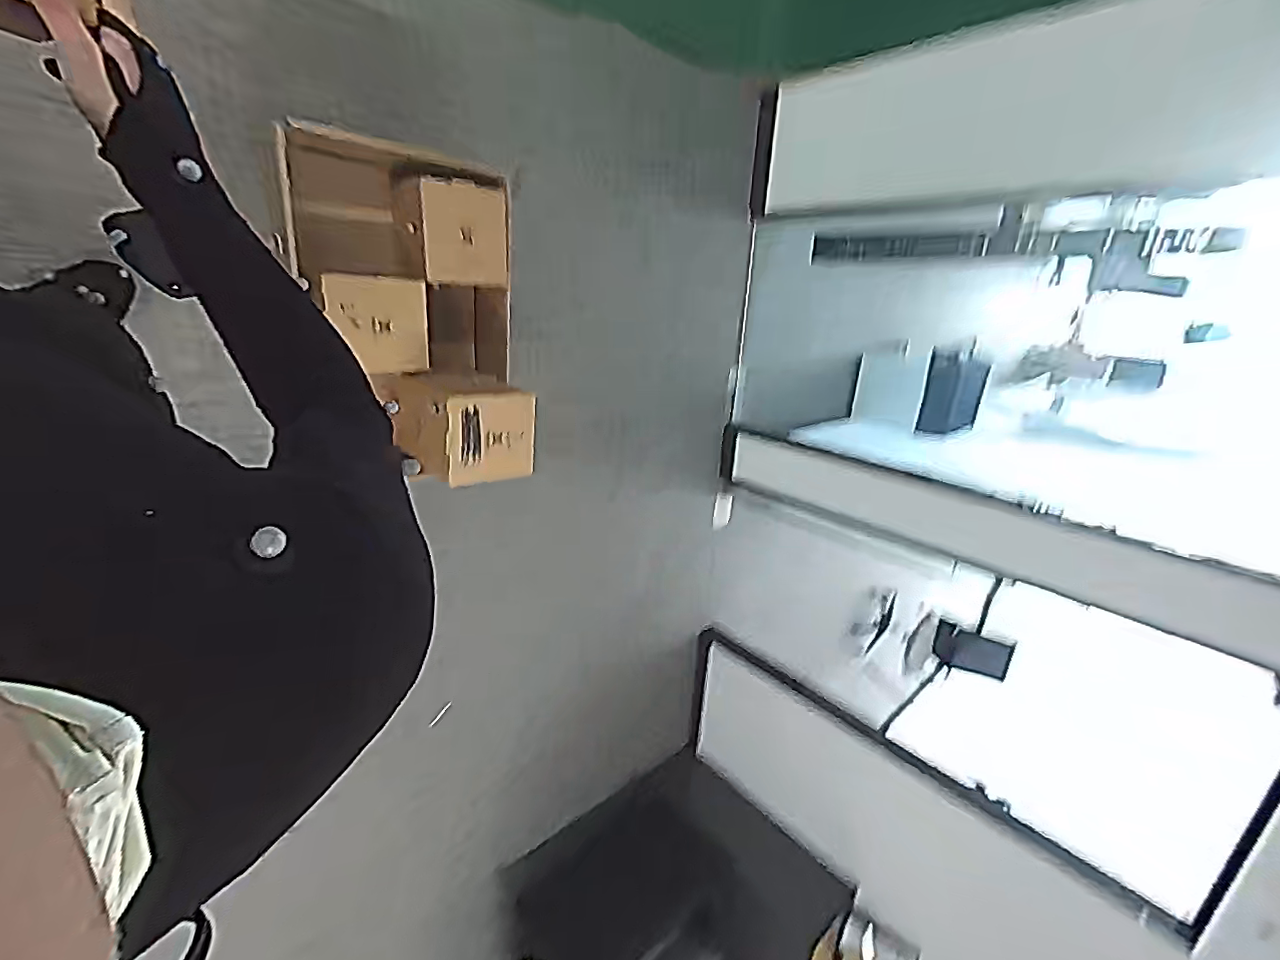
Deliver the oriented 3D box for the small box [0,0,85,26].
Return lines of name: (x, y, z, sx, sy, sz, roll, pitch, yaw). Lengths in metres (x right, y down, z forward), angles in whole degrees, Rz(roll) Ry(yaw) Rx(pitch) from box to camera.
small box: (-0.509, -0.425, 0.342, 0.179, 0.176, 0.168, -18, 124, -55)

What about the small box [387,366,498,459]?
small box: (-0.431, -0.152, 1.177, 0.179, 0.176, 0.168, -9, 113, -40)
